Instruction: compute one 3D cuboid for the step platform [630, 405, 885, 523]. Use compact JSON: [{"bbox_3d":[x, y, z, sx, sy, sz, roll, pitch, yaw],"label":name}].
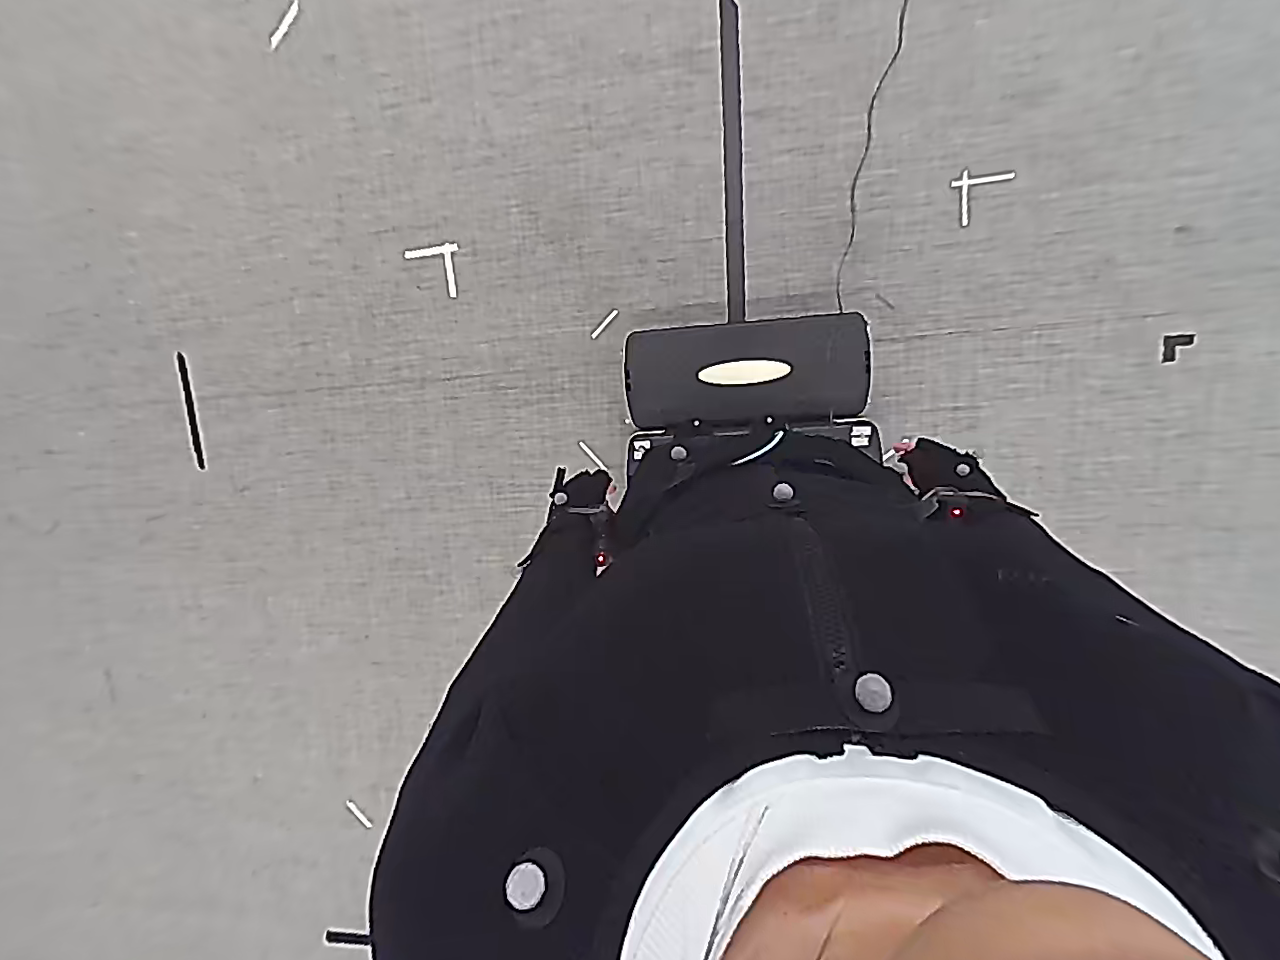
[{"bbox_3d":[0.313,-0.042,1.513,0.684,0.204,0.286,-4,96,10],"label":"step platform"}]
